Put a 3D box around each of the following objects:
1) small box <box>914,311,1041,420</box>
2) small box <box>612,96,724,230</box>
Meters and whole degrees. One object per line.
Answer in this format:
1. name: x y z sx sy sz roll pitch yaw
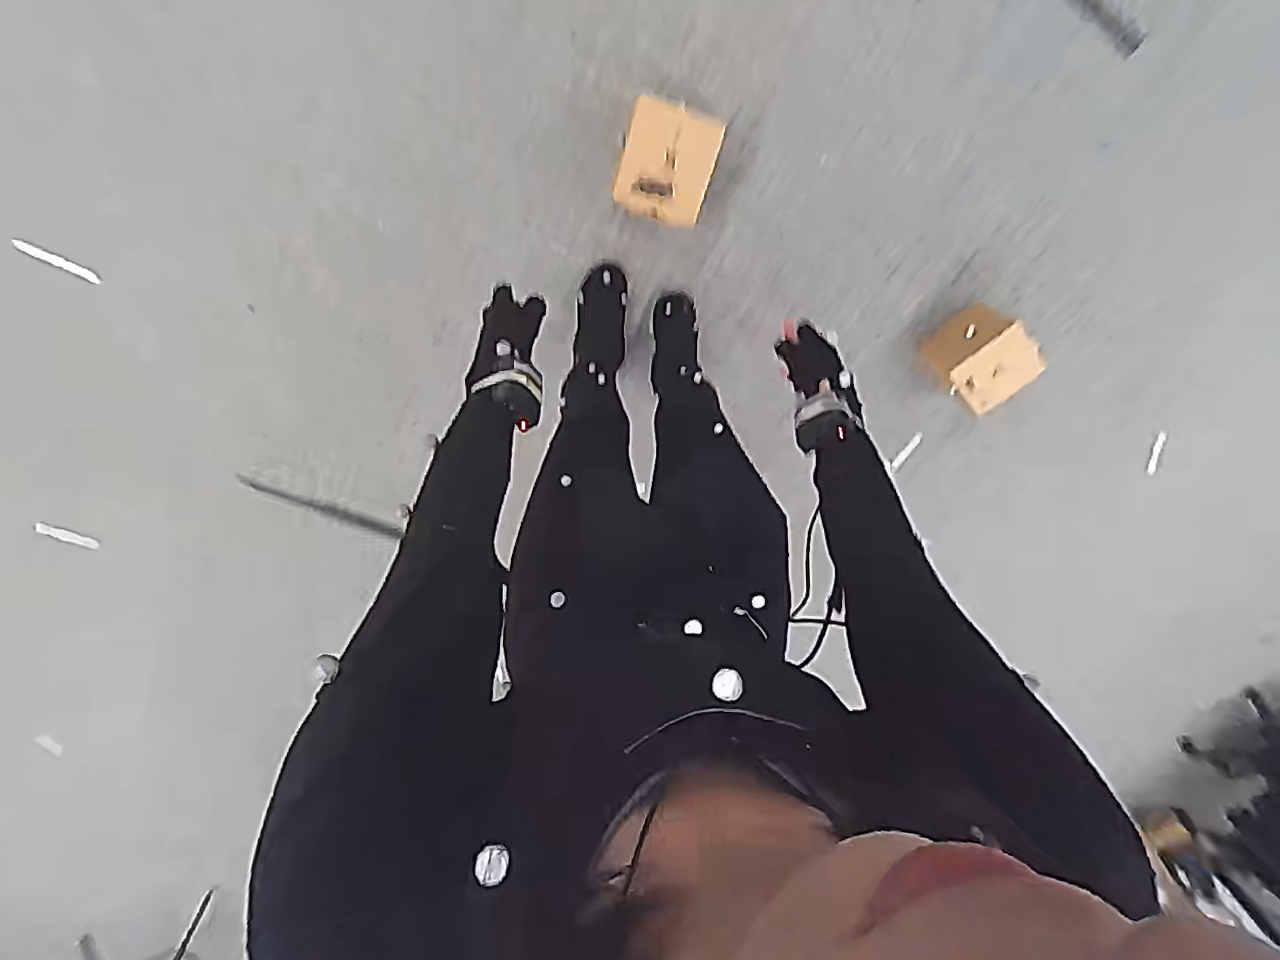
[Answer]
1. small box: 0.823 -0.288 1.333 0.179 0.176 0.168 -42 116 19
2. small box: 0.046 -0.619 1.066 0.168 0.176 0.179 14 119 -13
